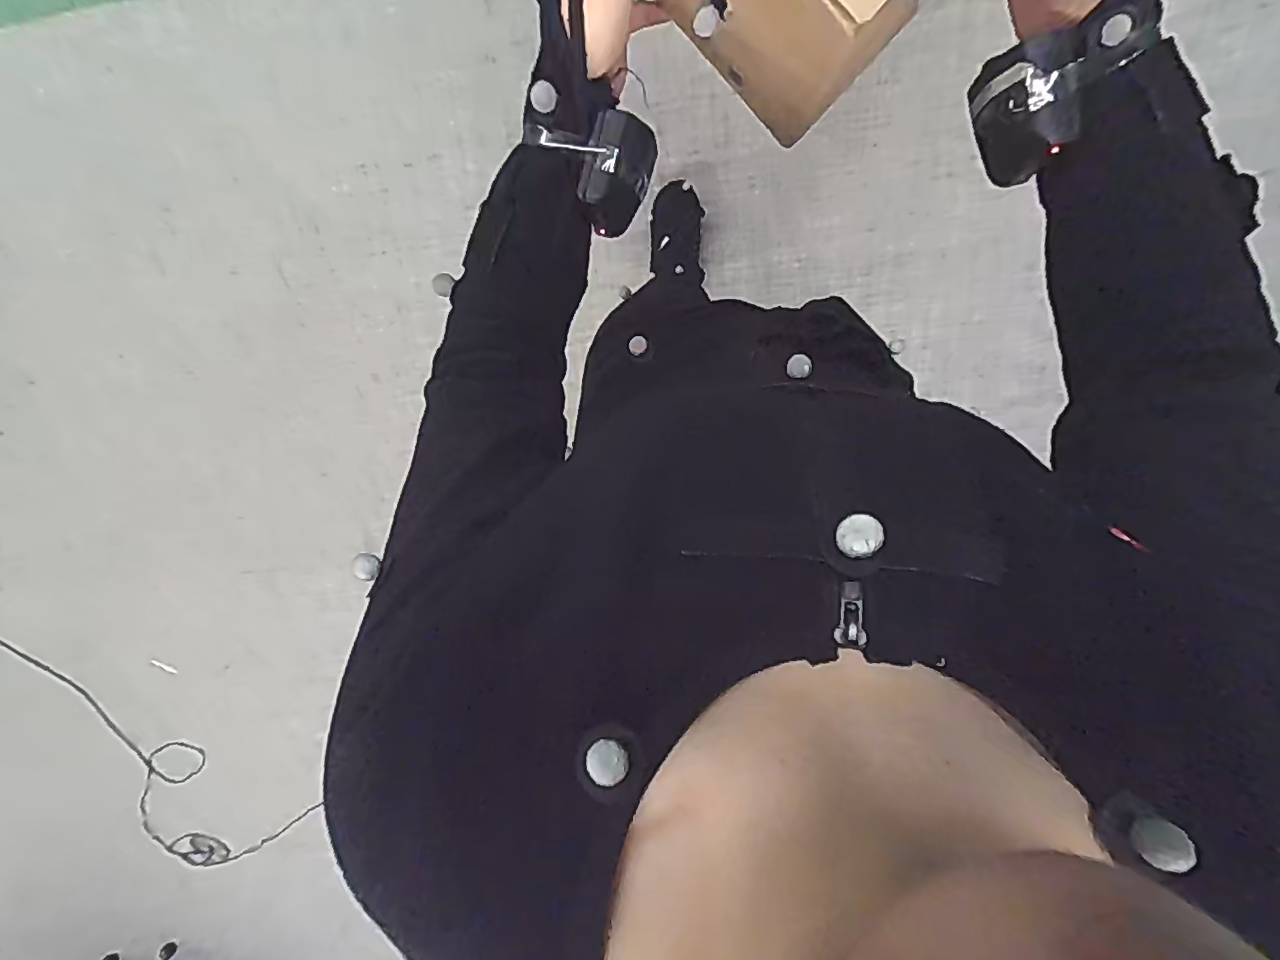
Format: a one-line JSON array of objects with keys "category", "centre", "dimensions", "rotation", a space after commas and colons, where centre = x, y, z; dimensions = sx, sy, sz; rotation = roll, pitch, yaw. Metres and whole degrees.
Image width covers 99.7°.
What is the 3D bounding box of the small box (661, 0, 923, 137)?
[{"category": "small box", "centre": [0.103, -0.340, 0.301], "dimensions": [0.168, 0.176, 0.179], "rotation": [44, 105, -7]}]
